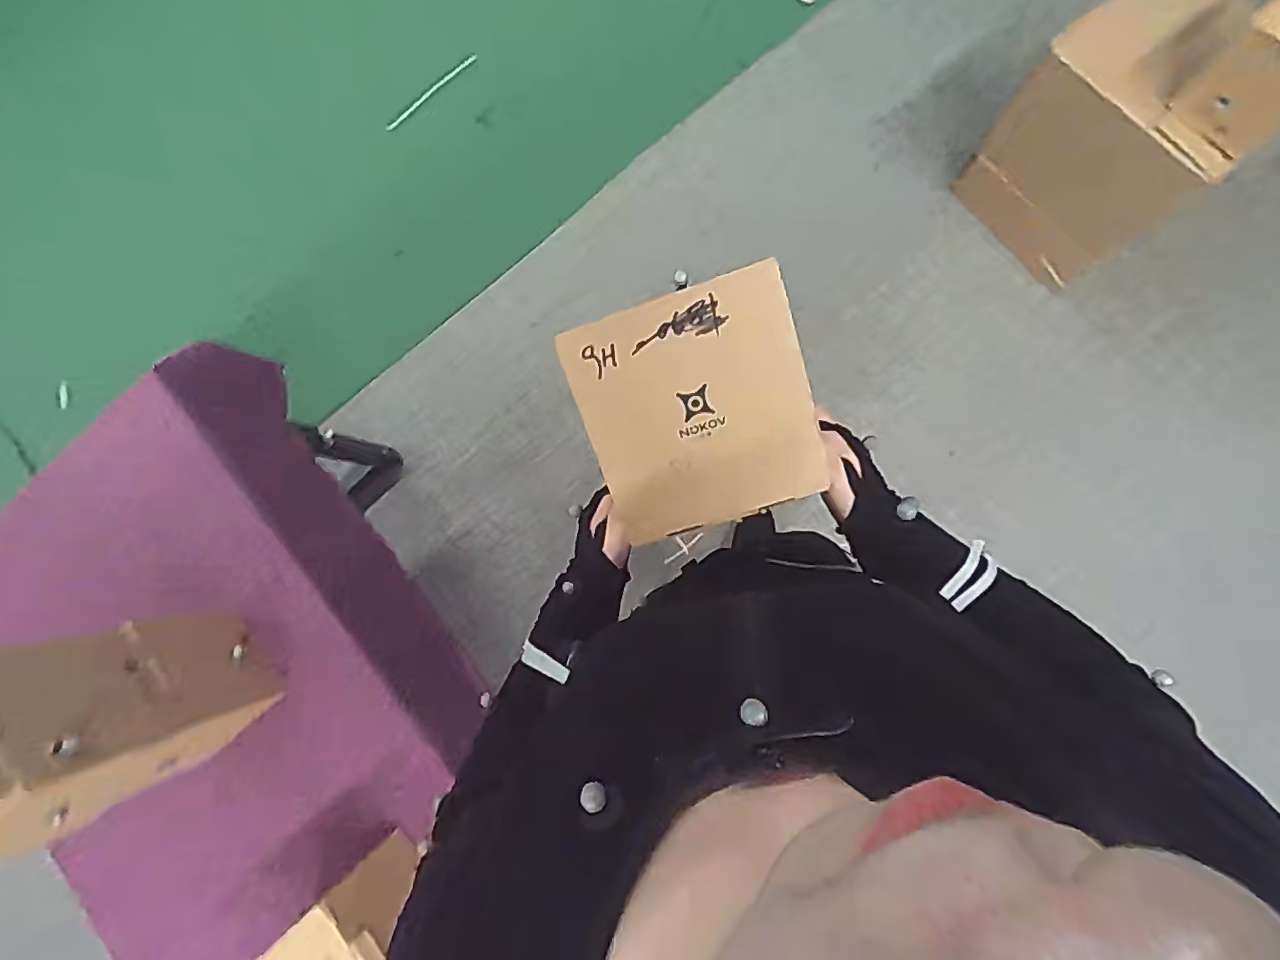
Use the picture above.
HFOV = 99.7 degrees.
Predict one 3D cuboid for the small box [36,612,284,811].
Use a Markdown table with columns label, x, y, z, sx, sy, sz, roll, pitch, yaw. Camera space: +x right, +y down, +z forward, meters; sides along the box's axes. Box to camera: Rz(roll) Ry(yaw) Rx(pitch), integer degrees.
| label | x | y | z | sx | sy | sz | roll | pitch | yaw |
| --- | --- | --- | --- | --- | --- | --- | --- | --- | --- |
| small box | -0.669 | 0.314 | 0.774 | 0.179 | 0.176 | 0.168 | -40 | 82 | 2 |

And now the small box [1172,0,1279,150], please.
| label | x | y | z | sx | sy | sz | roll | pitch | yaw |
| --- | --- | --- | --- | --- | --- | --- | --- | --- | --- |
| small box | 1.091 | -0.721 | 0.918 | 0.179 | 0.176 | 0.168 | -40 | 80 | 2 |

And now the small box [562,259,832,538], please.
| label | x | y | z | sx | sy | sz | roll | pitch | yaw |
| --- | --- | --- | --- | --- | --- | --- | --- | --- | --- |
| small box | 0.050 | -0.077 | 0.474 | 0.168 | 0.176 | 0.179 | -16 | 107 | 8 |

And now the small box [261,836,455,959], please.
| label | x | y | z | sx | sy | sz | roll | pitch | yaw |
| --- | --- | --- | --- | --- | --- | --- | --- | --- | --- |
| small box | -0.370 | 0.621 | 0.706 | 0.179 | 0.176 | 0.168 | -44 | 81 | 3 |
